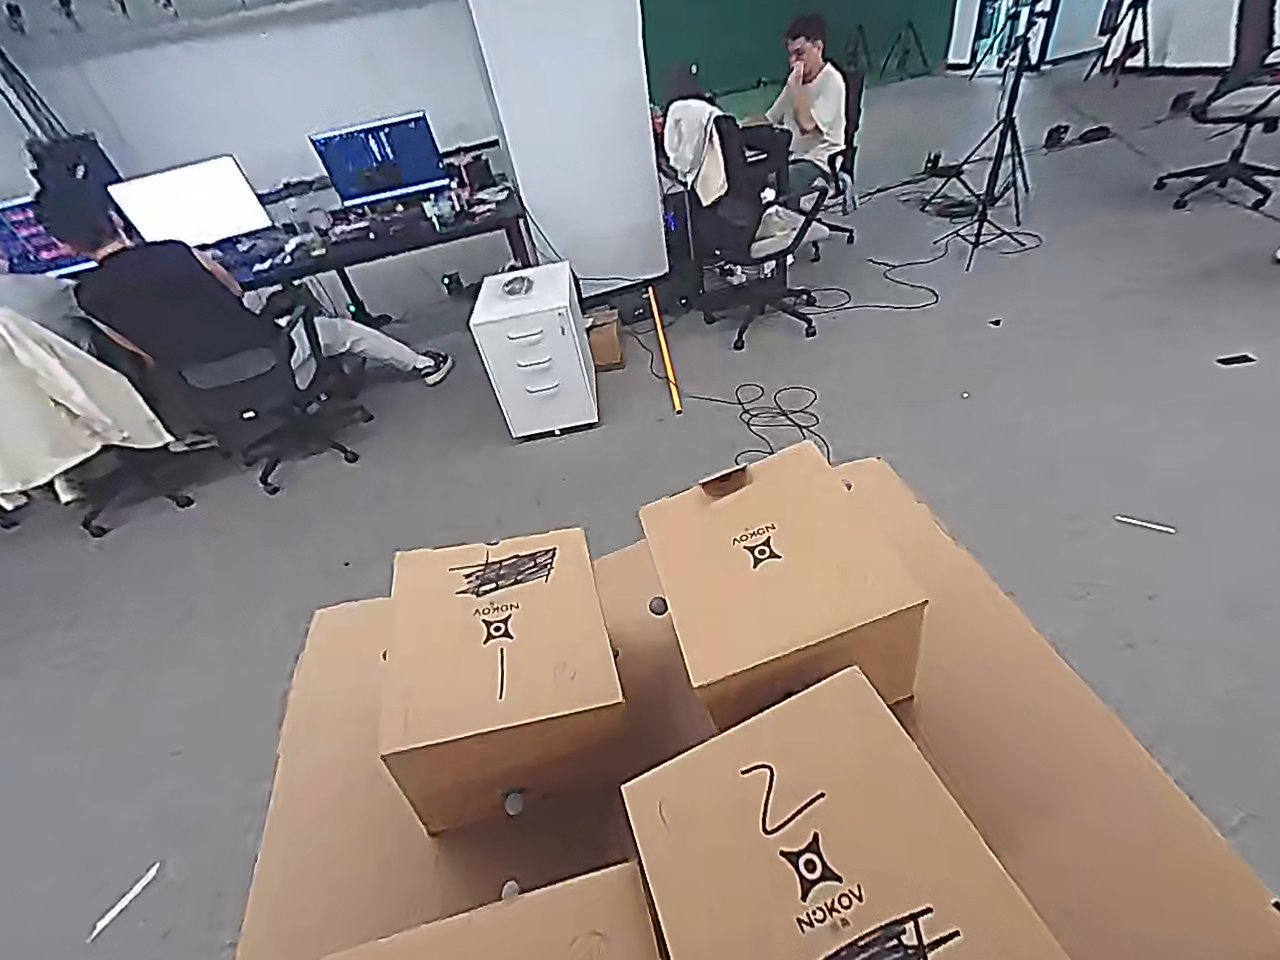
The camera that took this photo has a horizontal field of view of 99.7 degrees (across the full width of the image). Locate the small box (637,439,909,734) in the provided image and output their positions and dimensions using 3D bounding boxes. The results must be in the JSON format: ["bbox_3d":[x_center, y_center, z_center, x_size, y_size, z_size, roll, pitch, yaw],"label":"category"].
[{"bbox_3d":[0.115,0.102,0.481,0.168,0.176,0.179,-22,43,3],"label":"small box"}]
